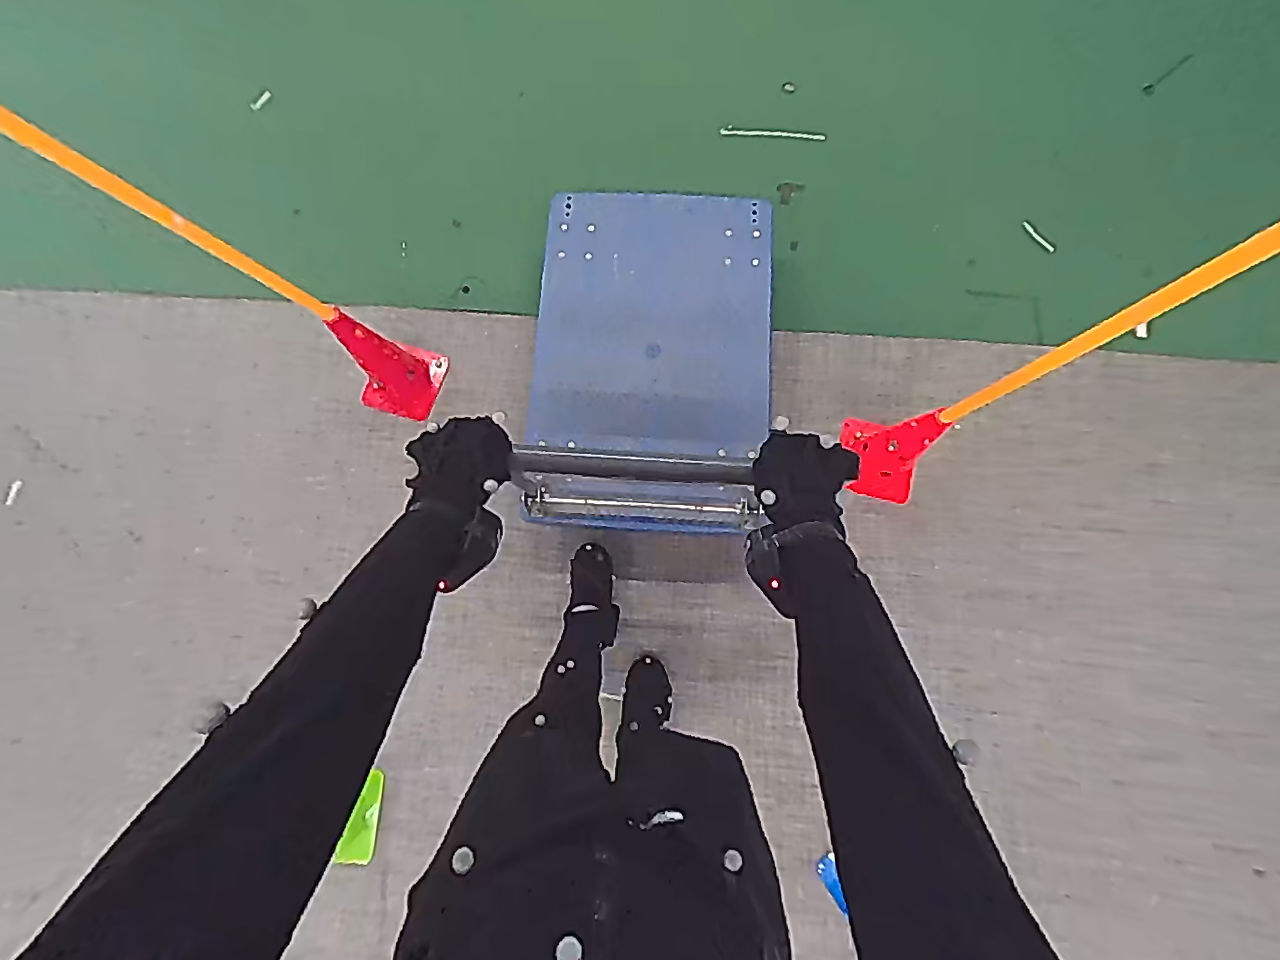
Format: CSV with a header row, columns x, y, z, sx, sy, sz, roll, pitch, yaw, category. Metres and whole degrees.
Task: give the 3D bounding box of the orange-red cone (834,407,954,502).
x,y,z,sx,sy,sz,roll,pitch,yaw,category
0.614,-0.090,1.247,0.198,0.360,0.199,15,79,5,orange-red cone
